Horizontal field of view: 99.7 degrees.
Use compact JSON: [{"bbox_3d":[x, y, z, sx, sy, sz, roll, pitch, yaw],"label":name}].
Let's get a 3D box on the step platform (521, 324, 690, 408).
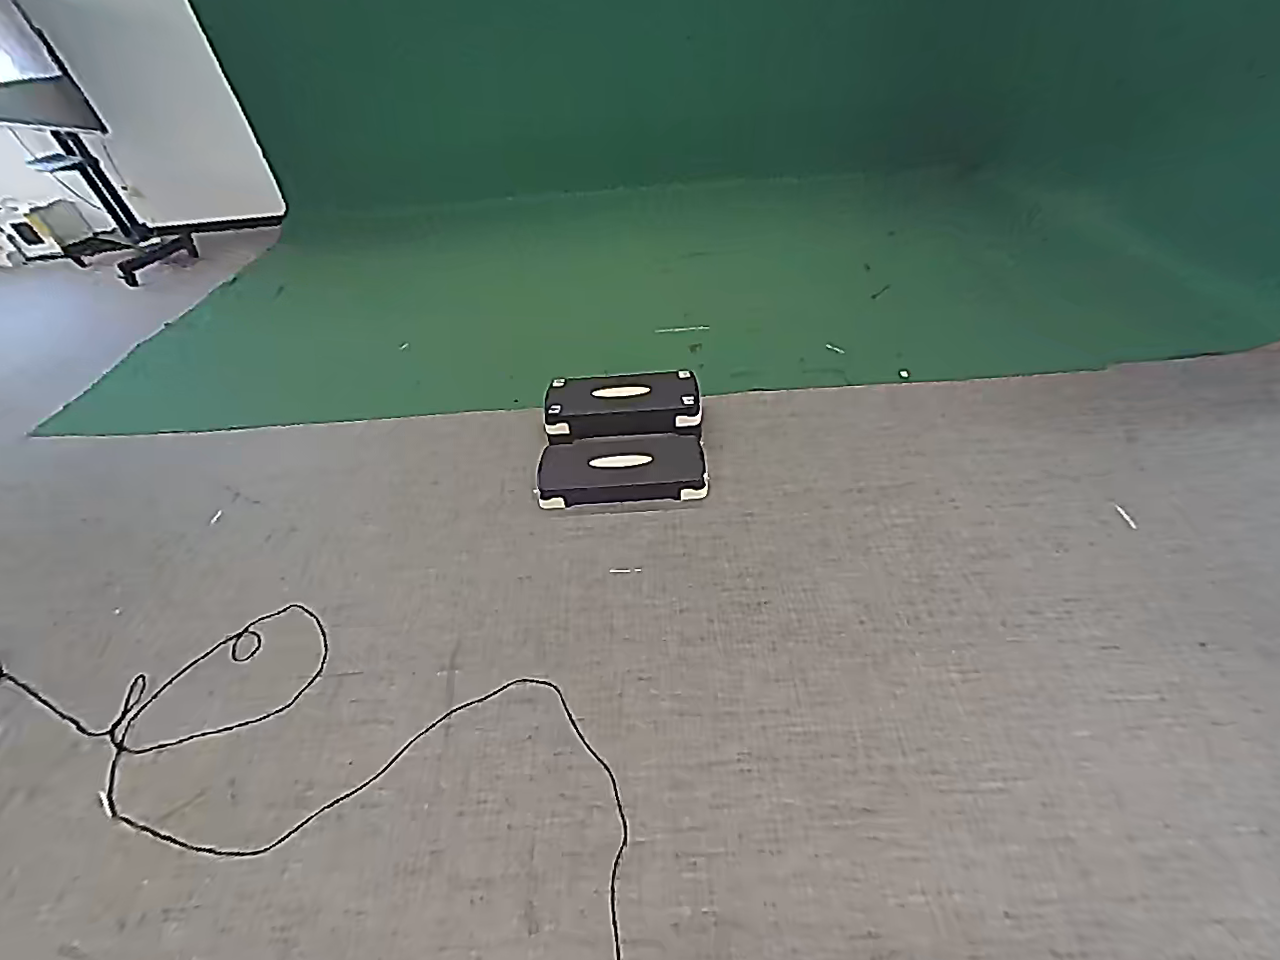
[{"bbox_3d":[-0.135,-0.477,2.259,0.684,0.204,0.286,-4,44,3],"label":"step platform"}]
